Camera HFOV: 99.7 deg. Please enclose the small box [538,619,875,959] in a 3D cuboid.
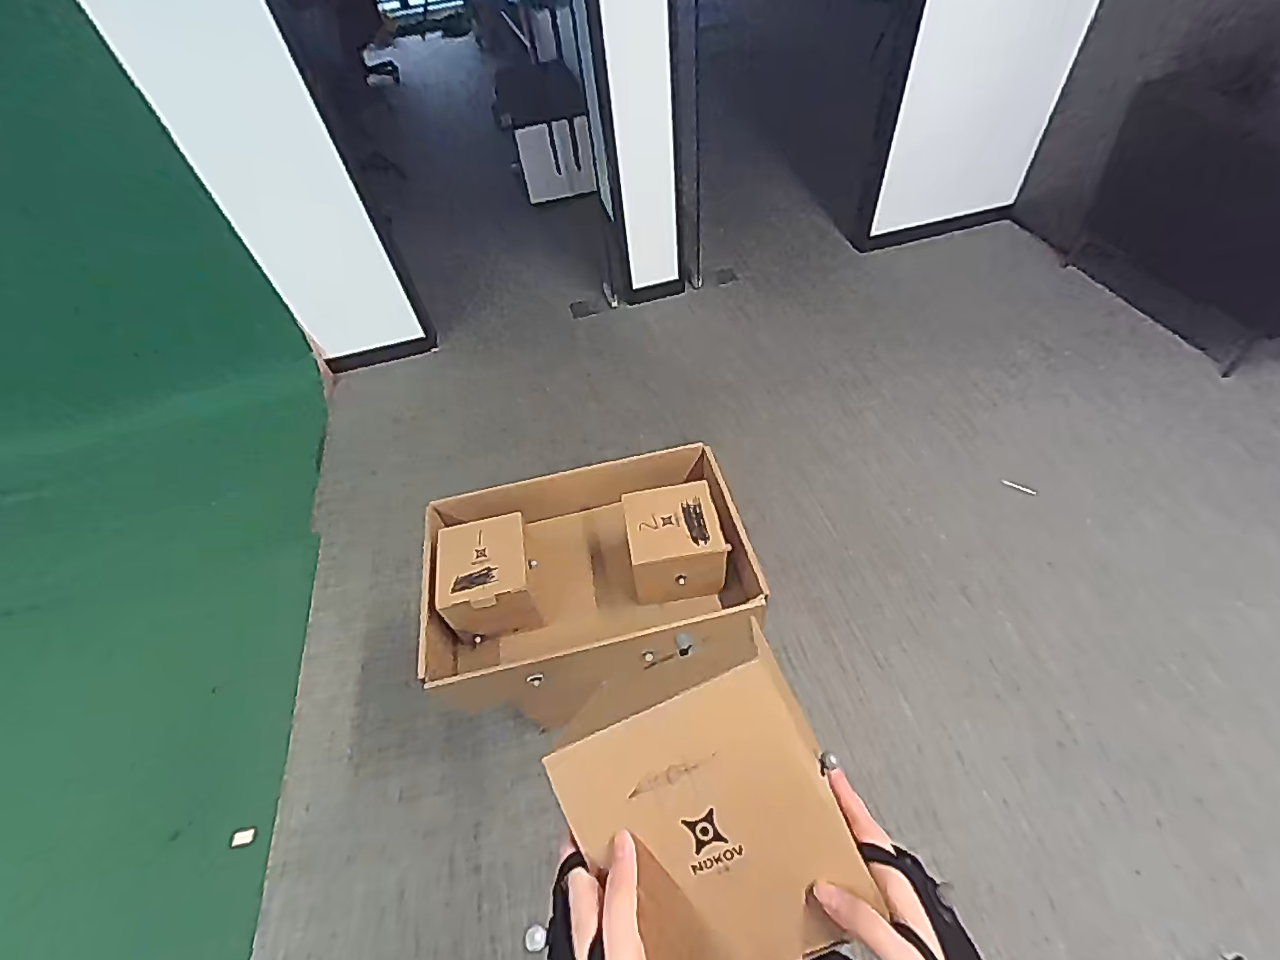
[{"bbox_3d":[0.051,0.232,0.426,0.168,0.176,0.179,-27,81,7],"label":"small box"}]
